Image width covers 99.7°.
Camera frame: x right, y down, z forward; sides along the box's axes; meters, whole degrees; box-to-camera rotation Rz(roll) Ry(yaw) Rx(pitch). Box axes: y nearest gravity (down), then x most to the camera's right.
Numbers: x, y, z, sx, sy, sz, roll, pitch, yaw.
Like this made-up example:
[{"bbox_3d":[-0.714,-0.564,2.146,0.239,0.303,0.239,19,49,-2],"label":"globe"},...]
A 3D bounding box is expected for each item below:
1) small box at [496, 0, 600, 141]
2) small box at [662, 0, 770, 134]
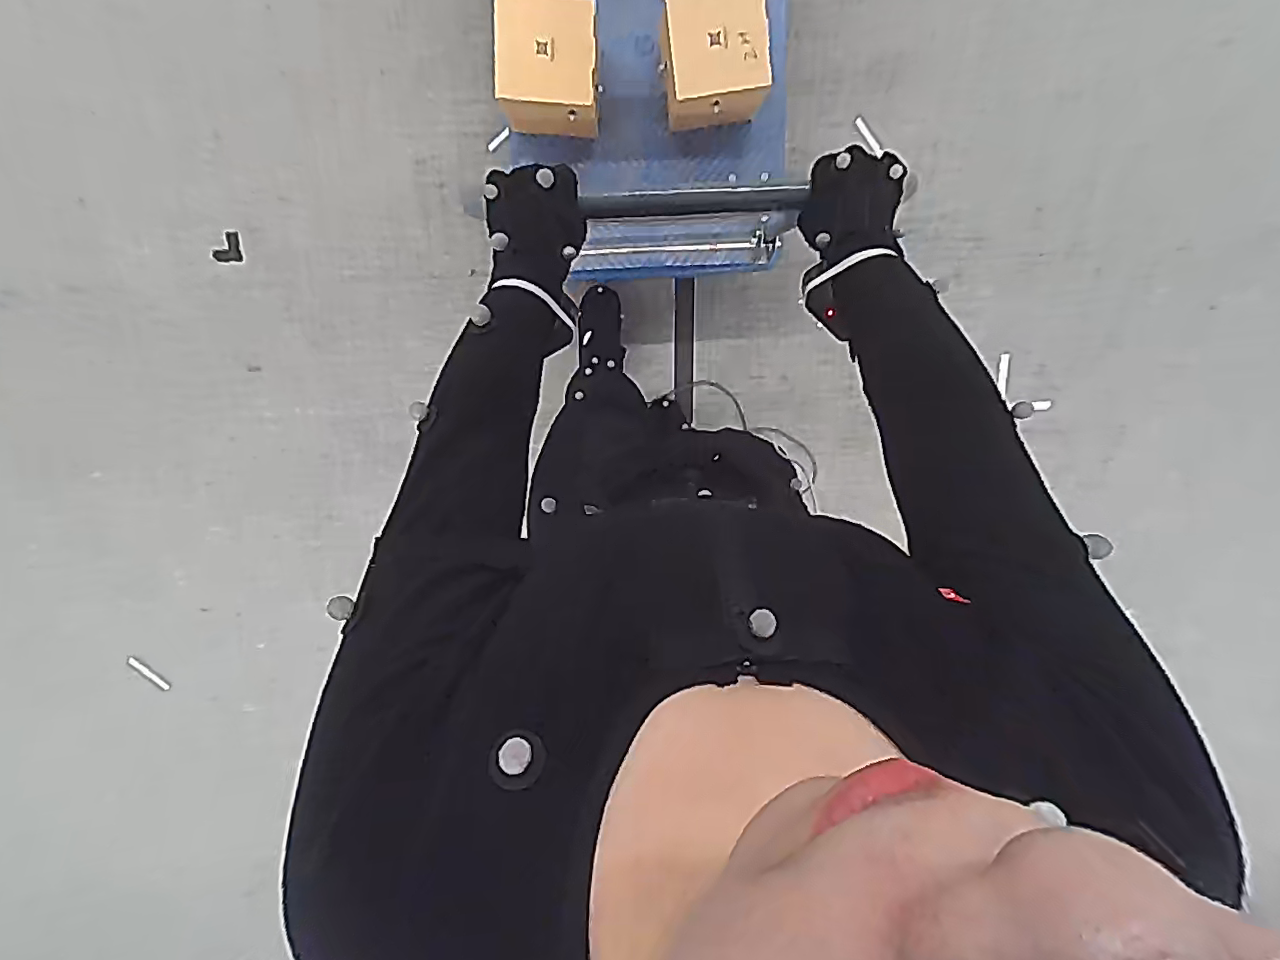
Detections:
[{"bbox_3d":[-0.168,-0.768,1.029,0.179,0.176,0.168,2,105,-4],"label":"small box"},{"bbox_3d":[0.137,-0.788,1.032,0.179,0.176,0.168,-8,106,1],"label":"small box"}]
